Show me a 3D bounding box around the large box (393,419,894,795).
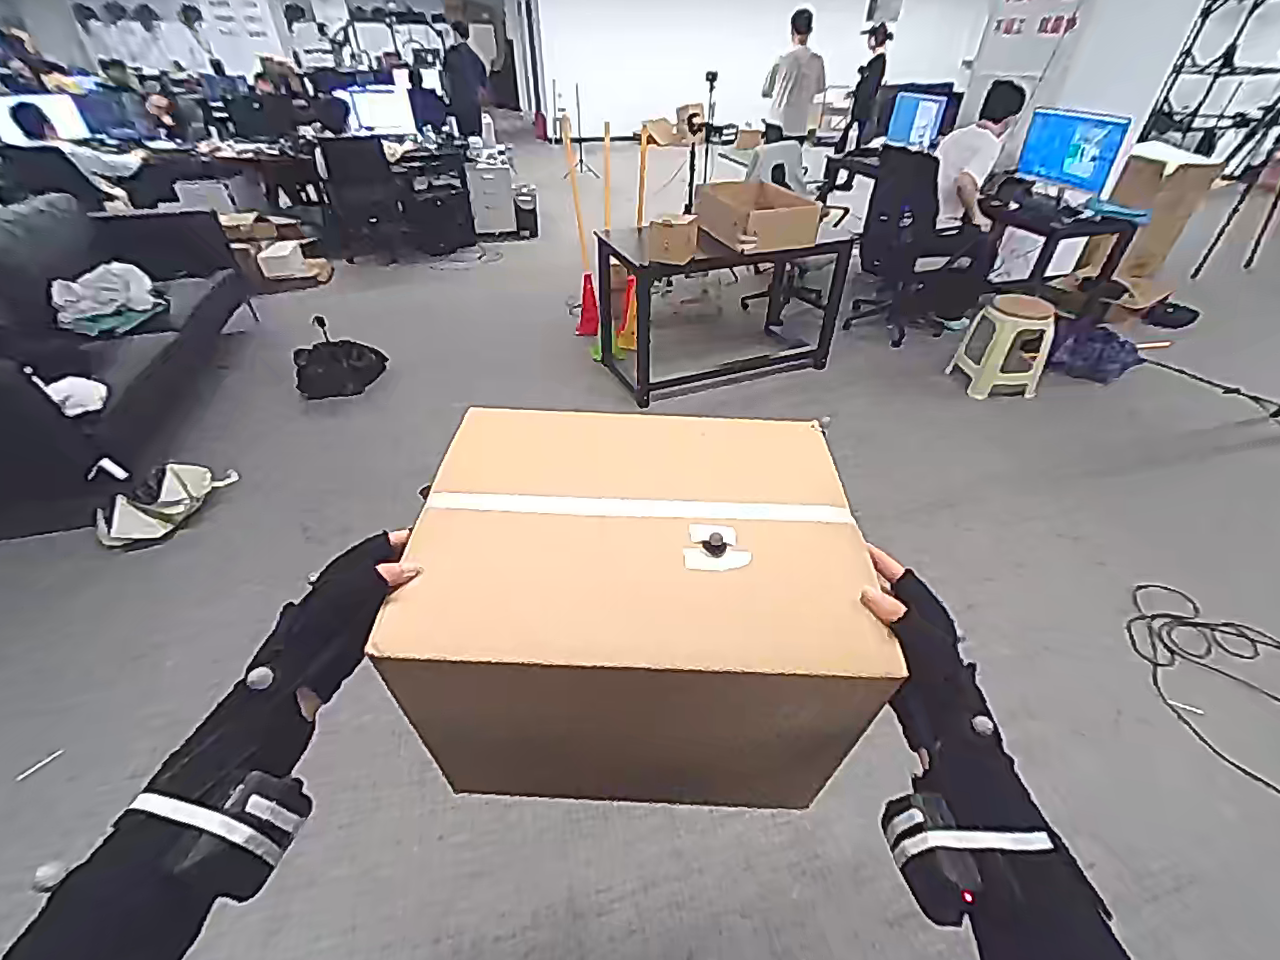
[{"bbox_3d":[-0.002,0.147,0.629,0.408,0.320,0.320,3,43,-1],"label":"large box"}]
